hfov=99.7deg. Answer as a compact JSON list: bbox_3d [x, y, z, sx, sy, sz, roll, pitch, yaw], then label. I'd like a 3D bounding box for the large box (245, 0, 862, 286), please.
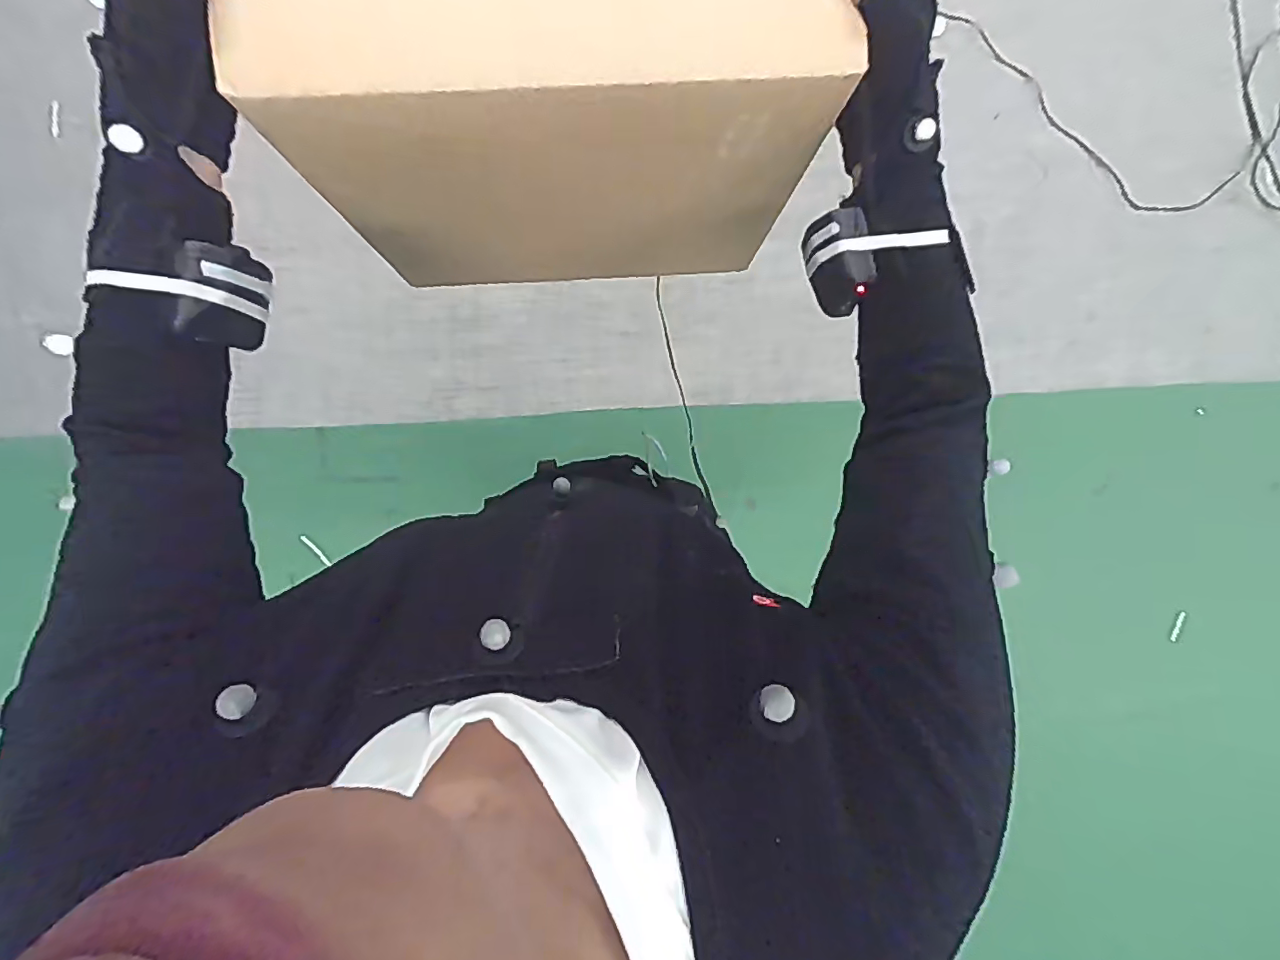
[{"bbox_3d":[-0.071,-0.399,0.504,0.408,0.320,0.320,-5,89,-4],"label":"large box"}]
